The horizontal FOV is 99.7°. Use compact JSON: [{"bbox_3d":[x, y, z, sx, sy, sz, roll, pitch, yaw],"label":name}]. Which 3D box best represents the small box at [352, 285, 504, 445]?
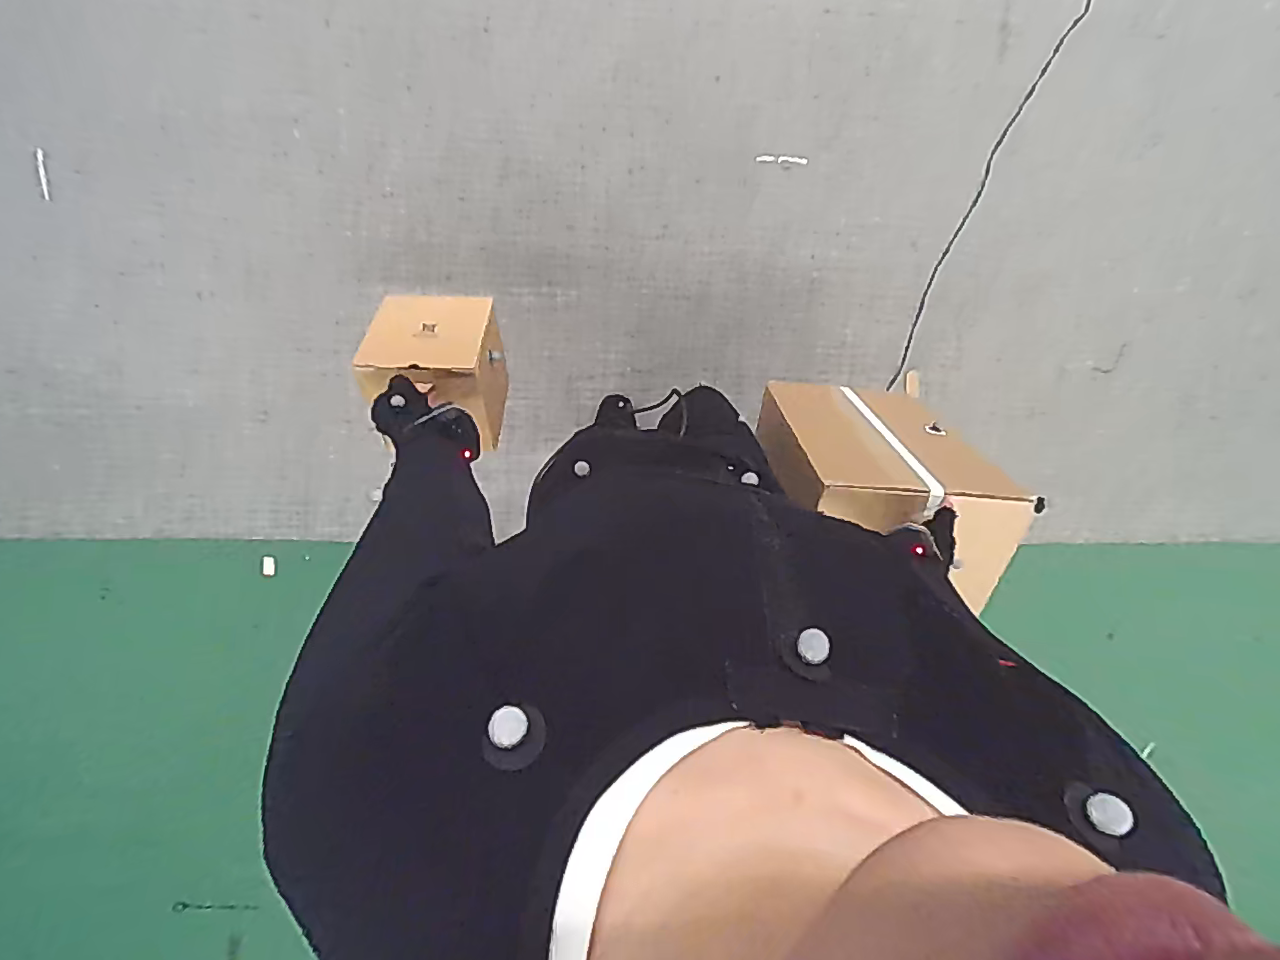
[{"bbox_3d":[-0.311,-0.176,0.839,0.168,0.179,0.176,1,143,-3],"label":"small box"}]
